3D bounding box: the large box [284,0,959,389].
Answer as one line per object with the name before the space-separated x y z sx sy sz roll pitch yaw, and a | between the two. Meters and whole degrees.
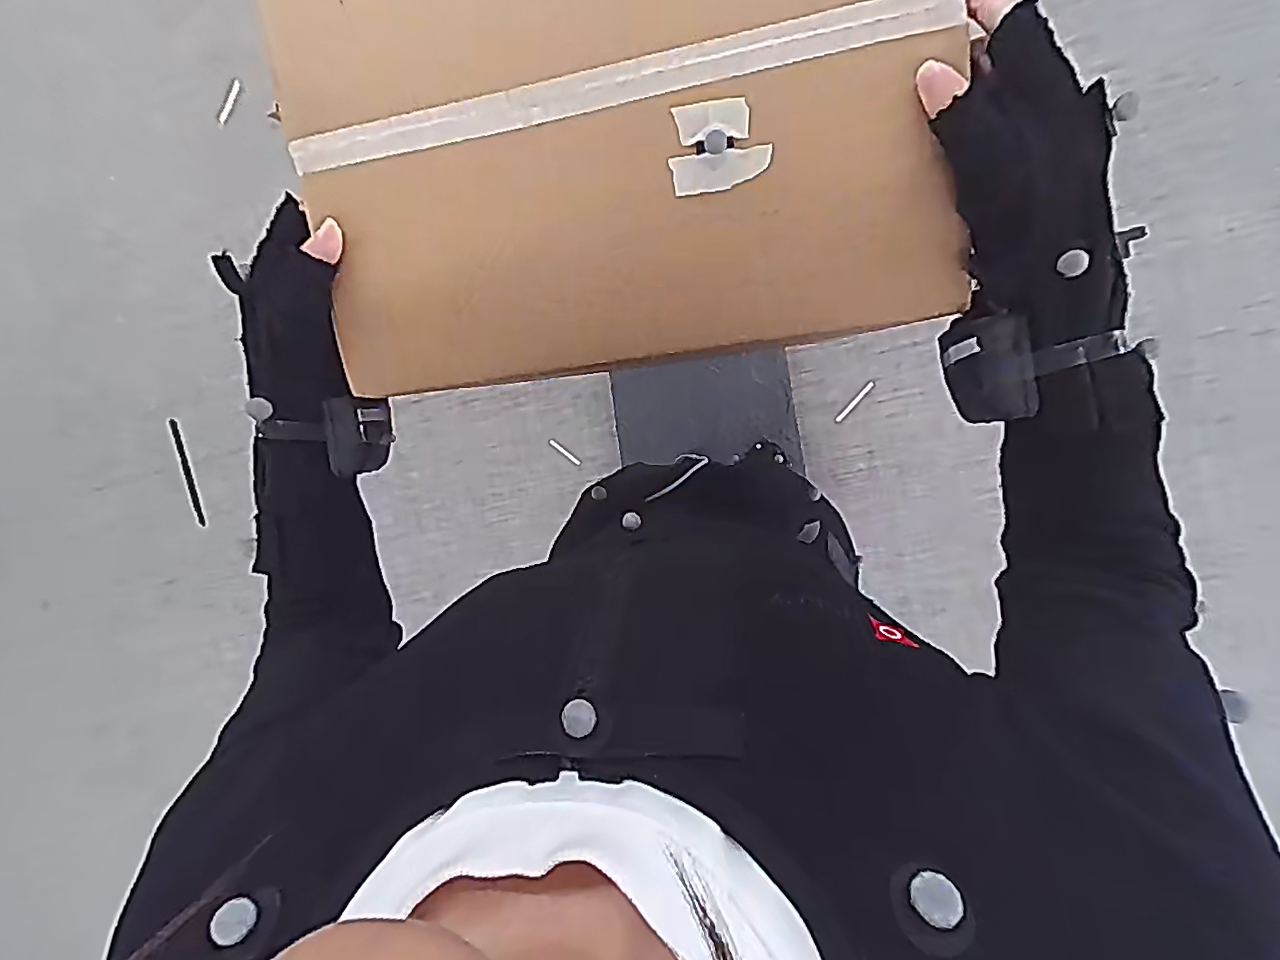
large box | -0.003 -0.269 0.478 0.408 0.320 0.320 -7 102 9
